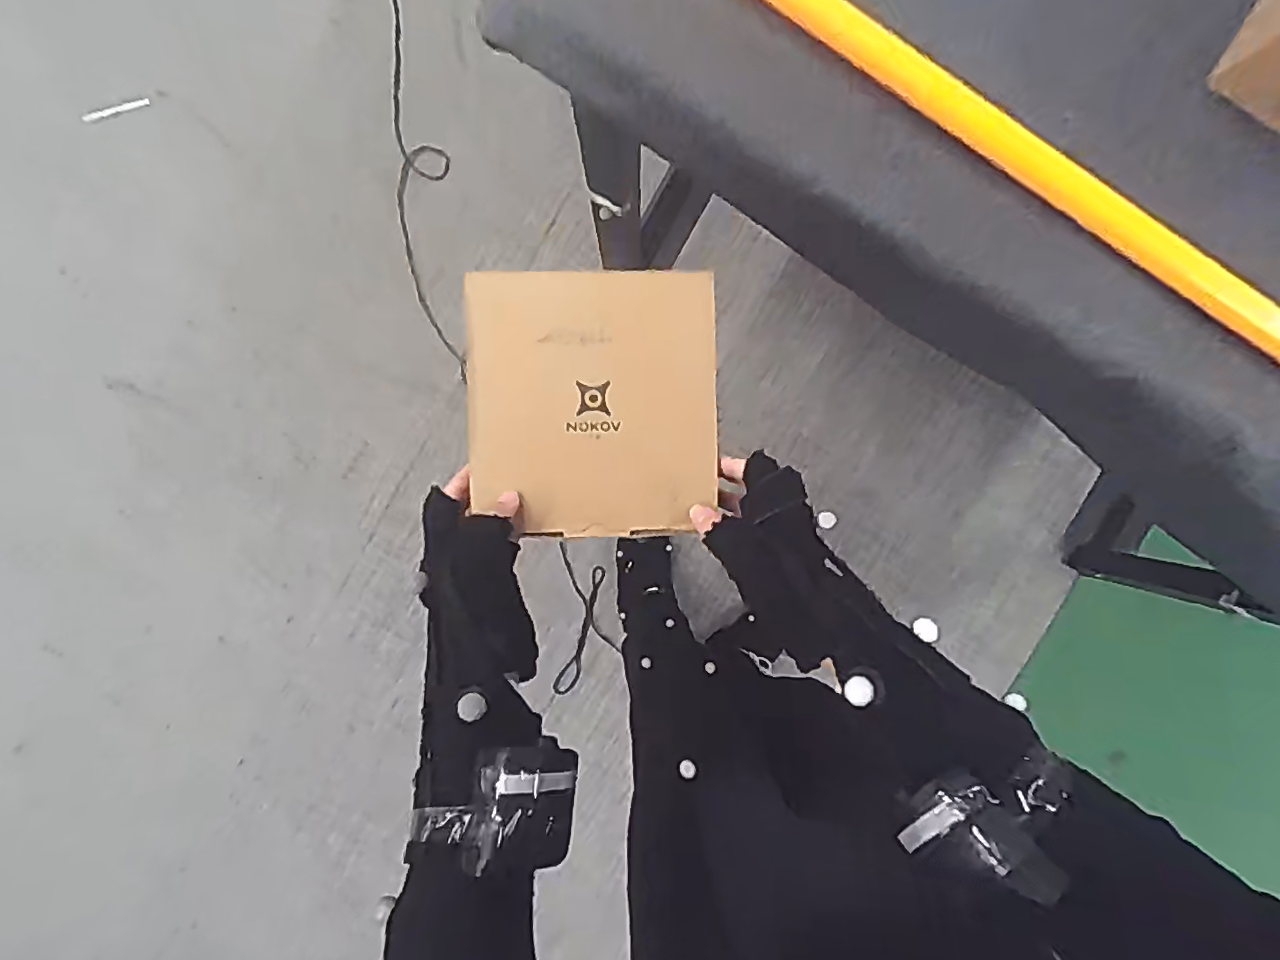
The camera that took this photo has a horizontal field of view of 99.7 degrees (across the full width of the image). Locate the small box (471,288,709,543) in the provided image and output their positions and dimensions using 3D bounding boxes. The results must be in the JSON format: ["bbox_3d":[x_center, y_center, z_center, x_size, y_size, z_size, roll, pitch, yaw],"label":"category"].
[{"bbox_3d":[-0.037,-0.045,0.451,0.168,0.176,0.179,-1,89,-4],"label":"small box"}]
